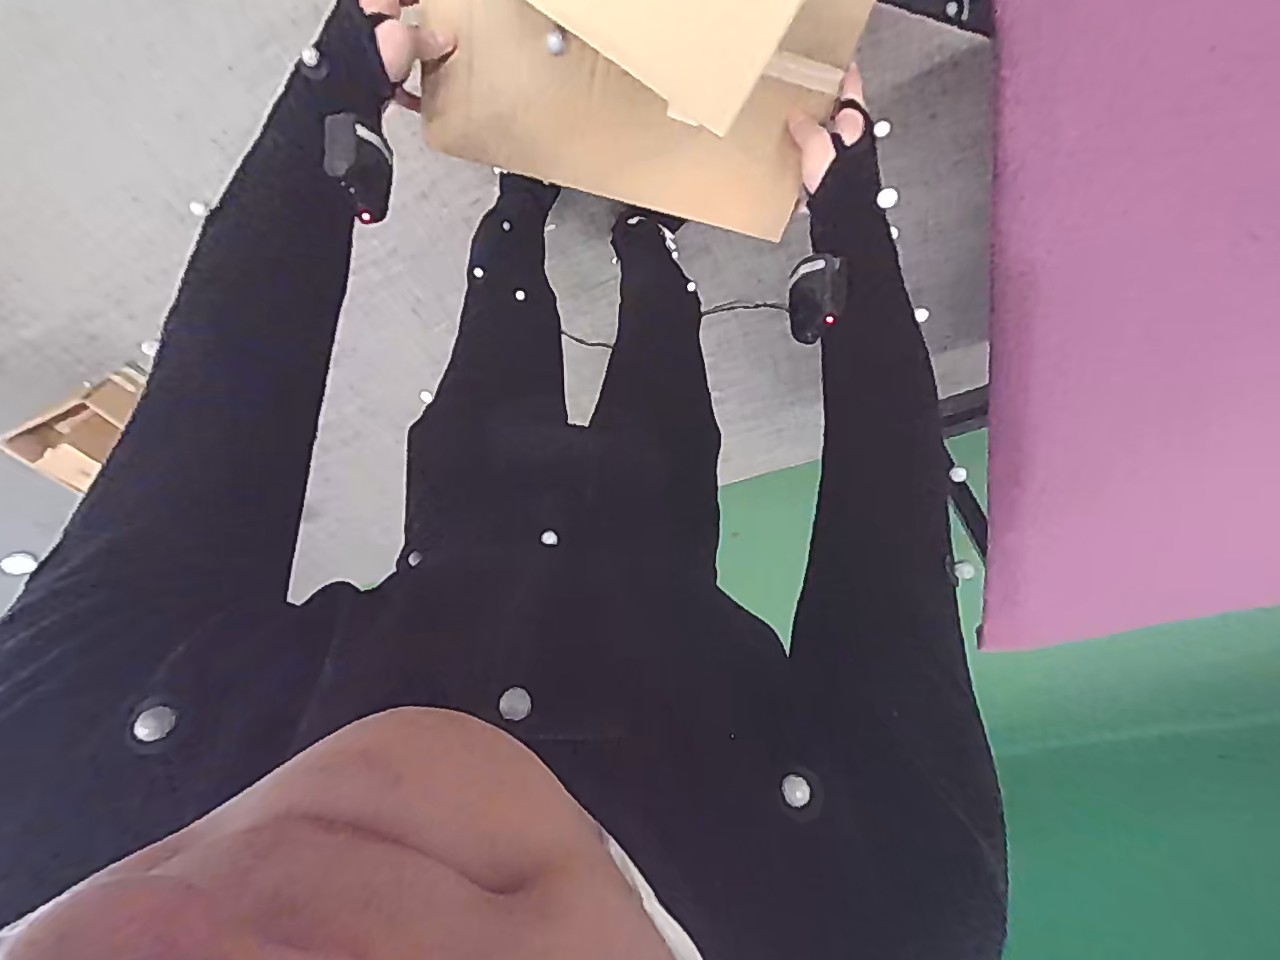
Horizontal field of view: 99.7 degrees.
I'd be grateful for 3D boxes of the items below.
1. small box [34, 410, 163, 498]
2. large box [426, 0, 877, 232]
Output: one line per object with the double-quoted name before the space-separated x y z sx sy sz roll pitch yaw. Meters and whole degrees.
"small box" -1.579 -0.082 1.588 0.168 0.176 0.179 -20 132 19
"large box" 0.004 -0.523 0.603 0.408 0.320 0.320 10 132 -10
